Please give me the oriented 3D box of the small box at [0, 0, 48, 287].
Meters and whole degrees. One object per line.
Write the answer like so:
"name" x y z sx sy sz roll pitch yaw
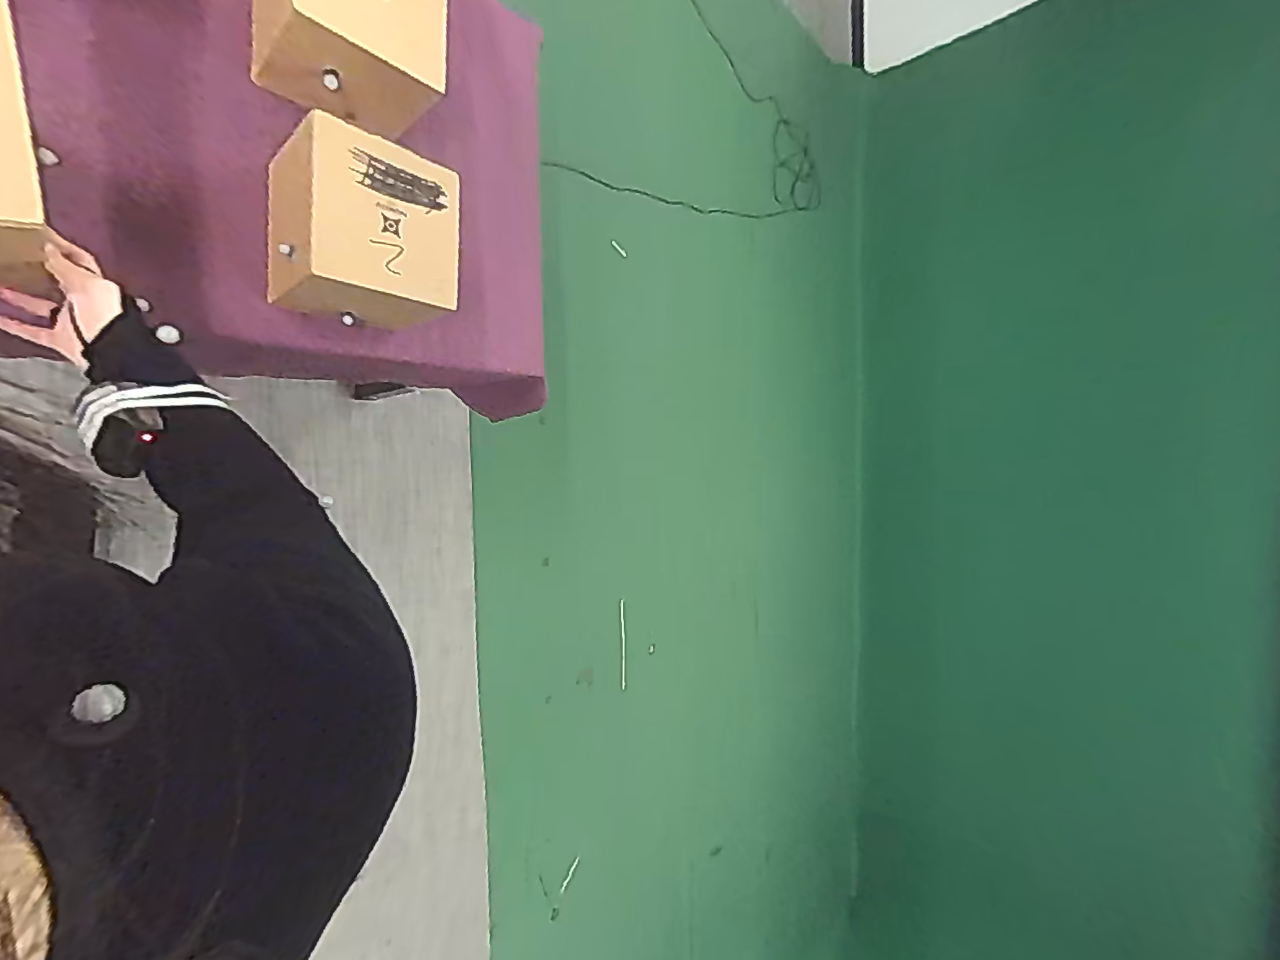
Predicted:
"small box" -0.562 -0.256 0.391 0.168 0.176 0.179 -10 94 -47

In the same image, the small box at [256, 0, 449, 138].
"small box" -0.349 -0.563 0.657 0.168 0.176 0.179 1 90 -46
